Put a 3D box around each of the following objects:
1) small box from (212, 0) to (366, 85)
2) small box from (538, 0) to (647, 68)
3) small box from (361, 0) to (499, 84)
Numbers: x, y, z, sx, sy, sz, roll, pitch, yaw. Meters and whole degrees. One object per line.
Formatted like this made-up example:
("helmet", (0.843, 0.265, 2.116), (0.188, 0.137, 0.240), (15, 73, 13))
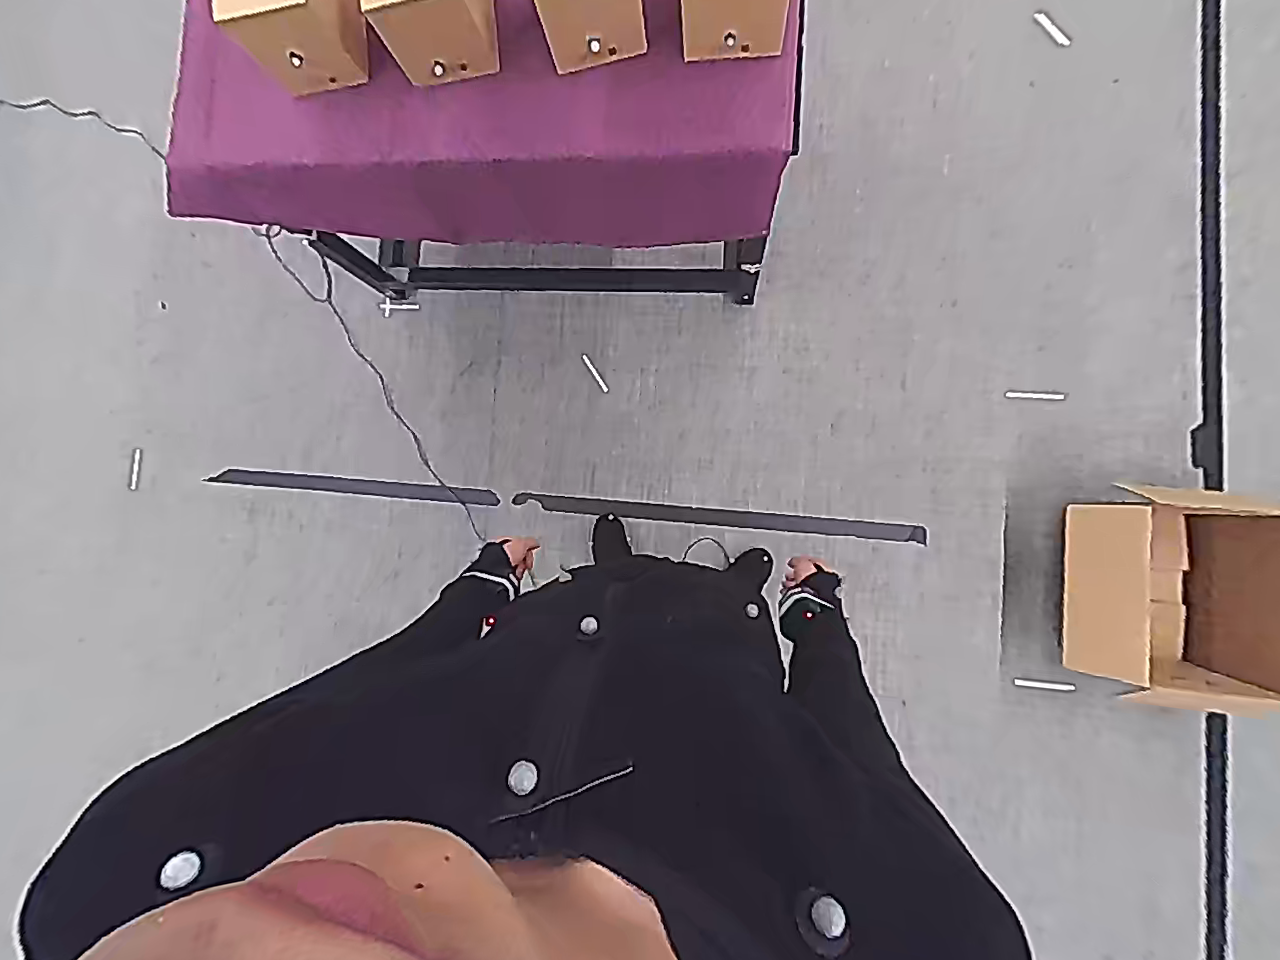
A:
("small box", (-0.604, -0.832, 0.945), (0.168, 0.176, 0.179), (-5, 86, 6))
("small box", (-0.087, -0.833, 0.884), (0.168, 0.176, 0.179), (-10, 87, 6))
("small box", (-0.352, -0.828, 0.916), (0.168, 0.176, 0.179), (-7, 86, 7))
